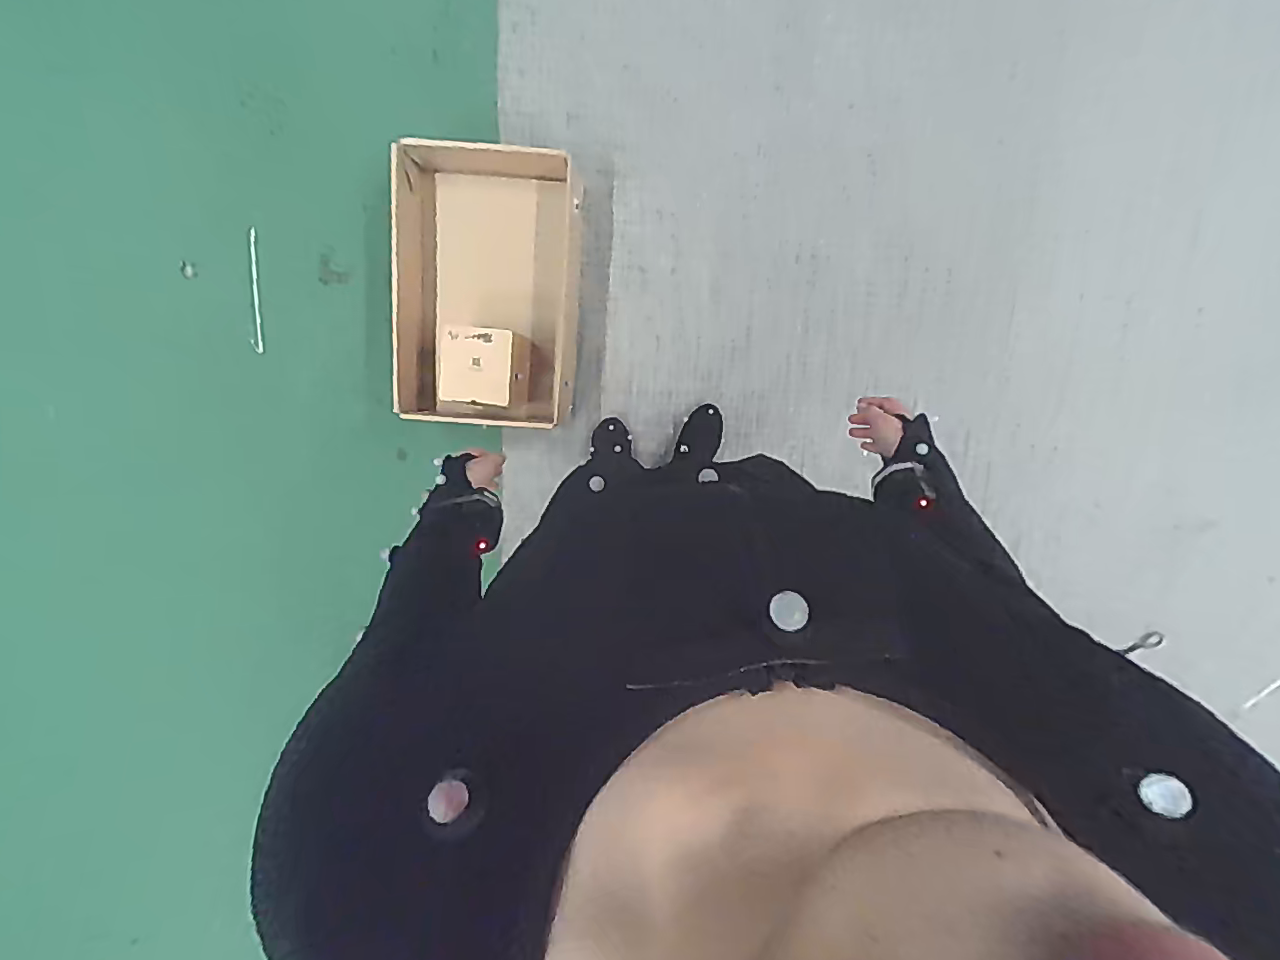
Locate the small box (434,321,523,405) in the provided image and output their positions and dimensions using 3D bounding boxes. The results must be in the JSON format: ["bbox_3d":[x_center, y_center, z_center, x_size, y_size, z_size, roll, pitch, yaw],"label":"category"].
[{"bbox_3d":[-0.384,-0.279,1.302,0.168,0.176,0.179,5,100,-1],"label":"small box"}]
